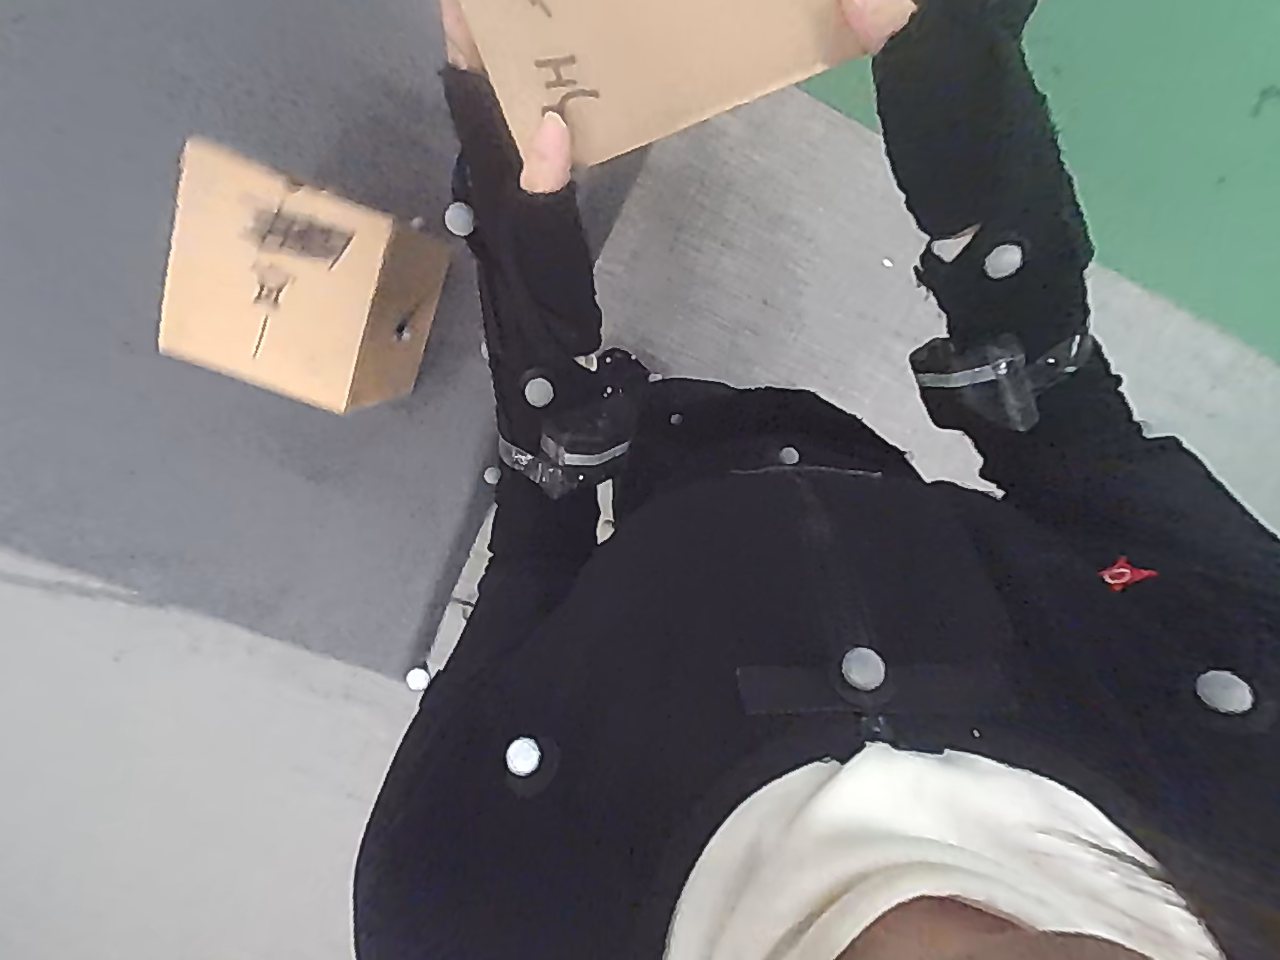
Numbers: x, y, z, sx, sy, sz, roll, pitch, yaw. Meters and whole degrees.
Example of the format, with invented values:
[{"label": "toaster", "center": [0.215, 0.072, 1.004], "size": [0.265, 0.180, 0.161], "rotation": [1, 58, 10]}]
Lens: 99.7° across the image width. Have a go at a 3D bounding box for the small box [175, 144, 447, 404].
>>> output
[{"label": "small box", "center": [-0.311, -0.192, 0.546], "size": [0.168, 0.176, 0.179], "rotation": [17, 103, -7]}]
